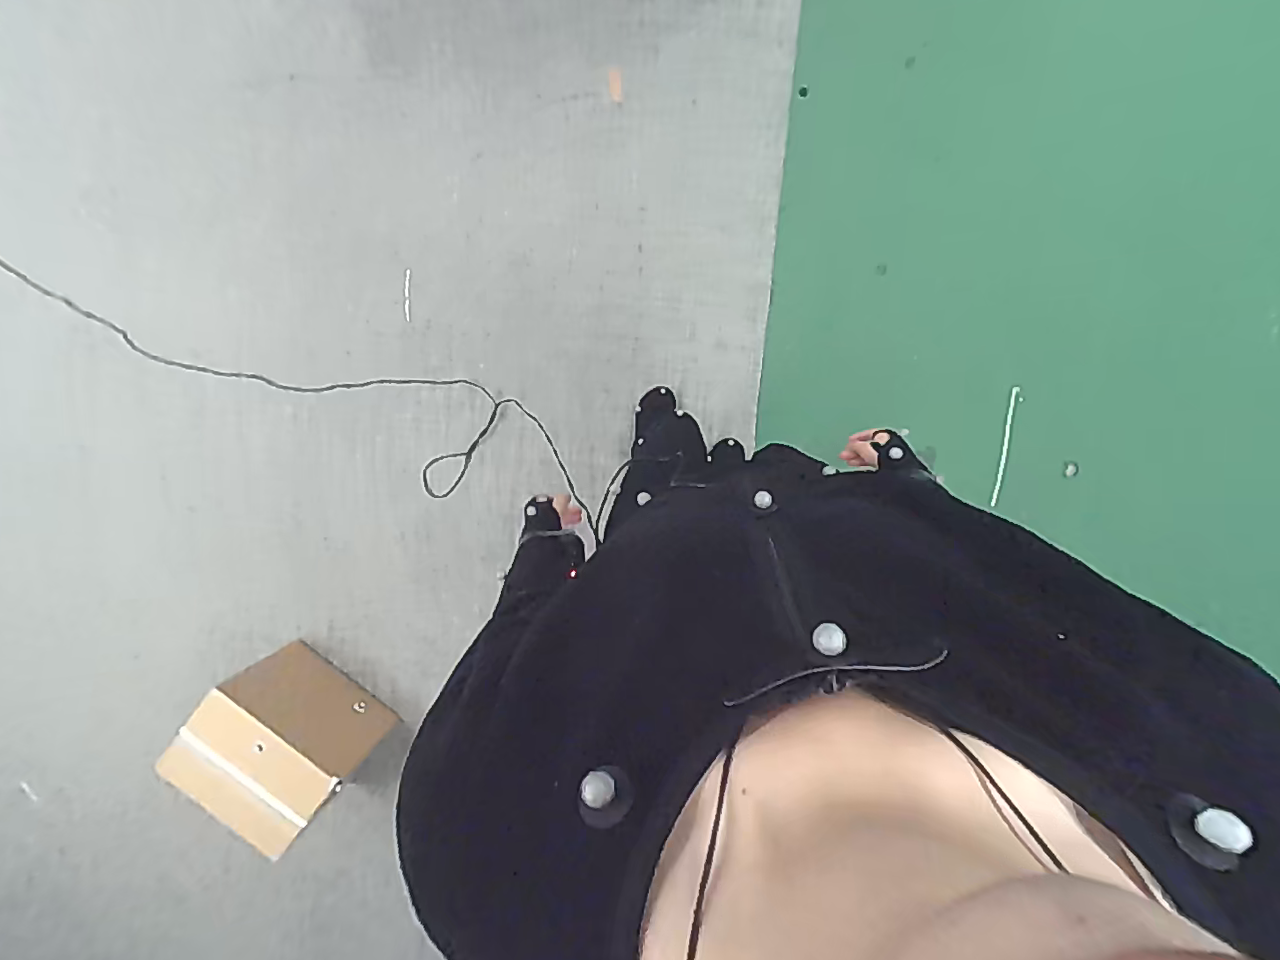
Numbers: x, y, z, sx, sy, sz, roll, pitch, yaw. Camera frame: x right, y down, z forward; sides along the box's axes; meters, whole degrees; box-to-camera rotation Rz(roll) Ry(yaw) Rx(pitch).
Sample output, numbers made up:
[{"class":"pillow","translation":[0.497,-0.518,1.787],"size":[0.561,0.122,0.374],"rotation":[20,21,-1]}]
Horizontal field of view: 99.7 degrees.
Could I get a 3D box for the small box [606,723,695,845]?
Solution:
[{"class":"small box","translation":[0.026,0.656,1.190],"size":[0.168,0.176,0.179],"rotation":[-8,95,6]}]
